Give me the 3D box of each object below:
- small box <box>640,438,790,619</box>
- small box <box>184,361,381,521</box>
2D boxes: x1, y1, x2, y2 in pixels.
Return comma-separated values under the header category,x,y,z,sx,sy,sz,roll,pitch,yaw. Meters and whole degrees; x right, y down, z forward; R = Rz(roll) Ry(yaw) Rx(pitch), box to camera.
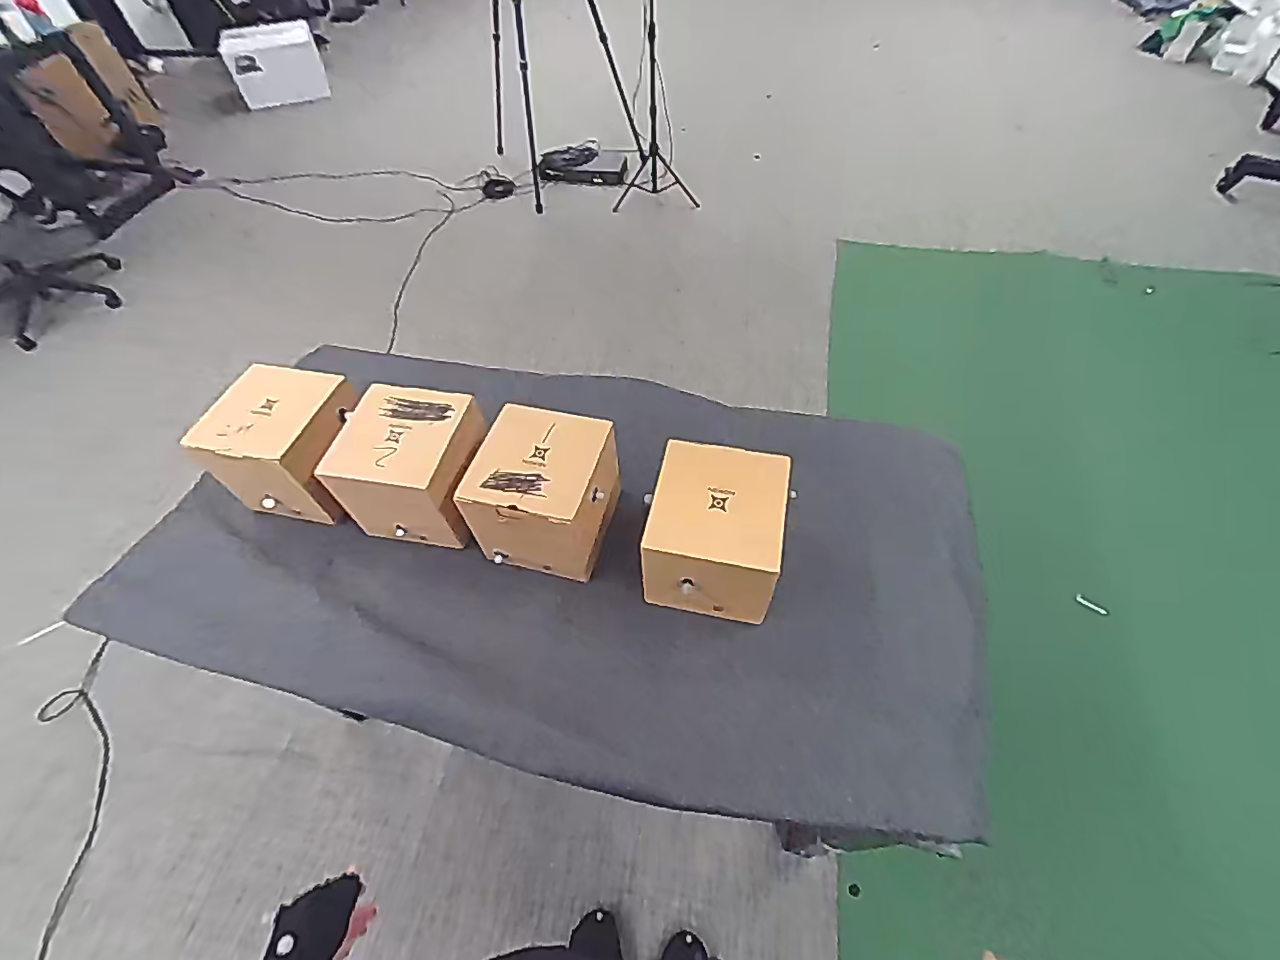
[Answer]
category,x,y,z,sx,sy,sz,roll,pitch,yaw
small box,0.103,0.070,0.738,0.168,0.176,0.179,9,55,10
small box,-0.545,-0.061,0.862,0.168,0.176,0.179,9,55,9
